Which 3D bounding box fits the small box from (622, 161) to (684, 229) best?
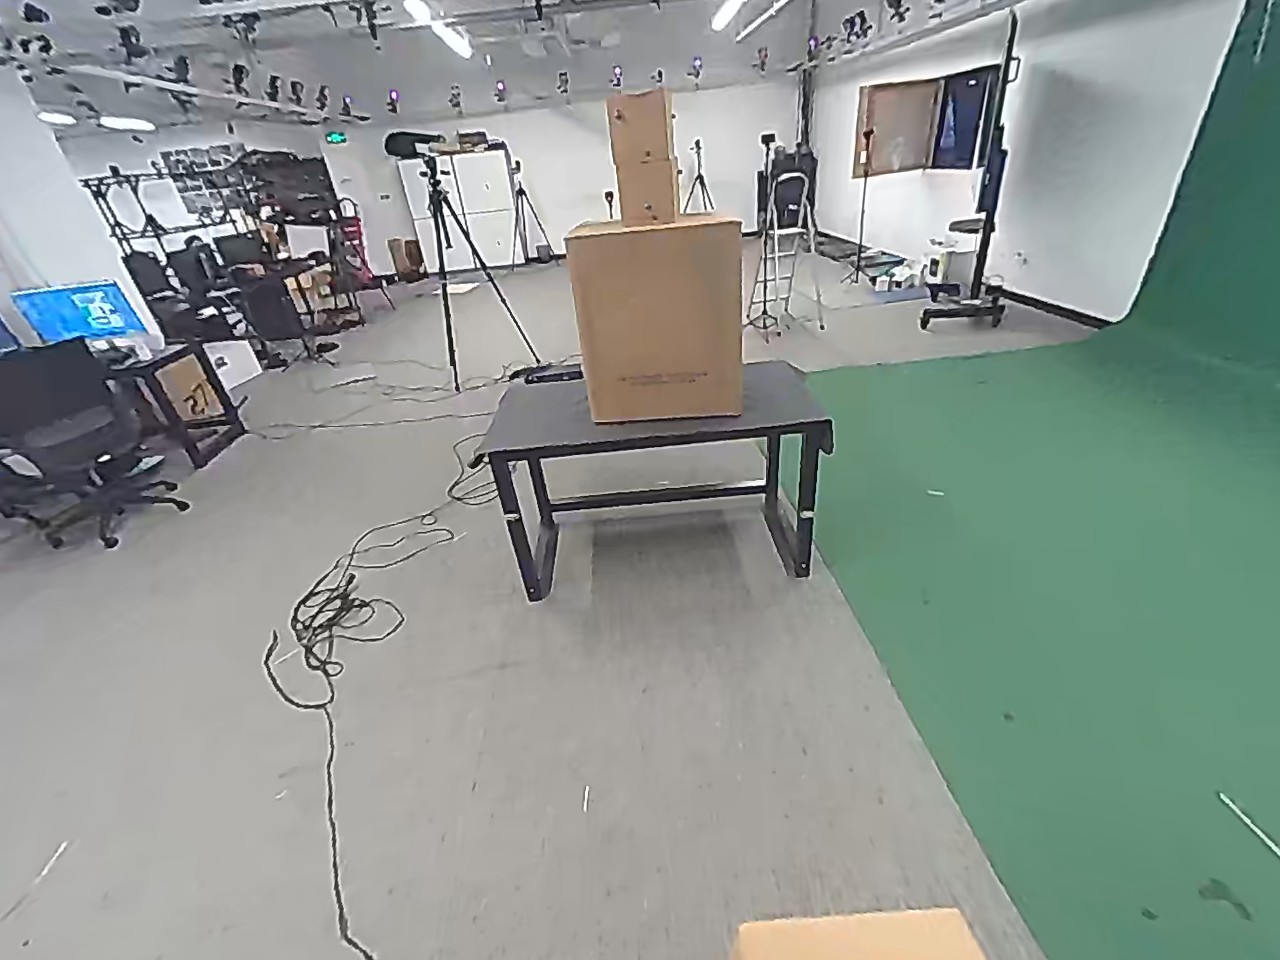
[{"bbox_3d":[0.046,-0.882,1.676,0.168,0.176,0.179,1,34,10],"label":"small box"}]
